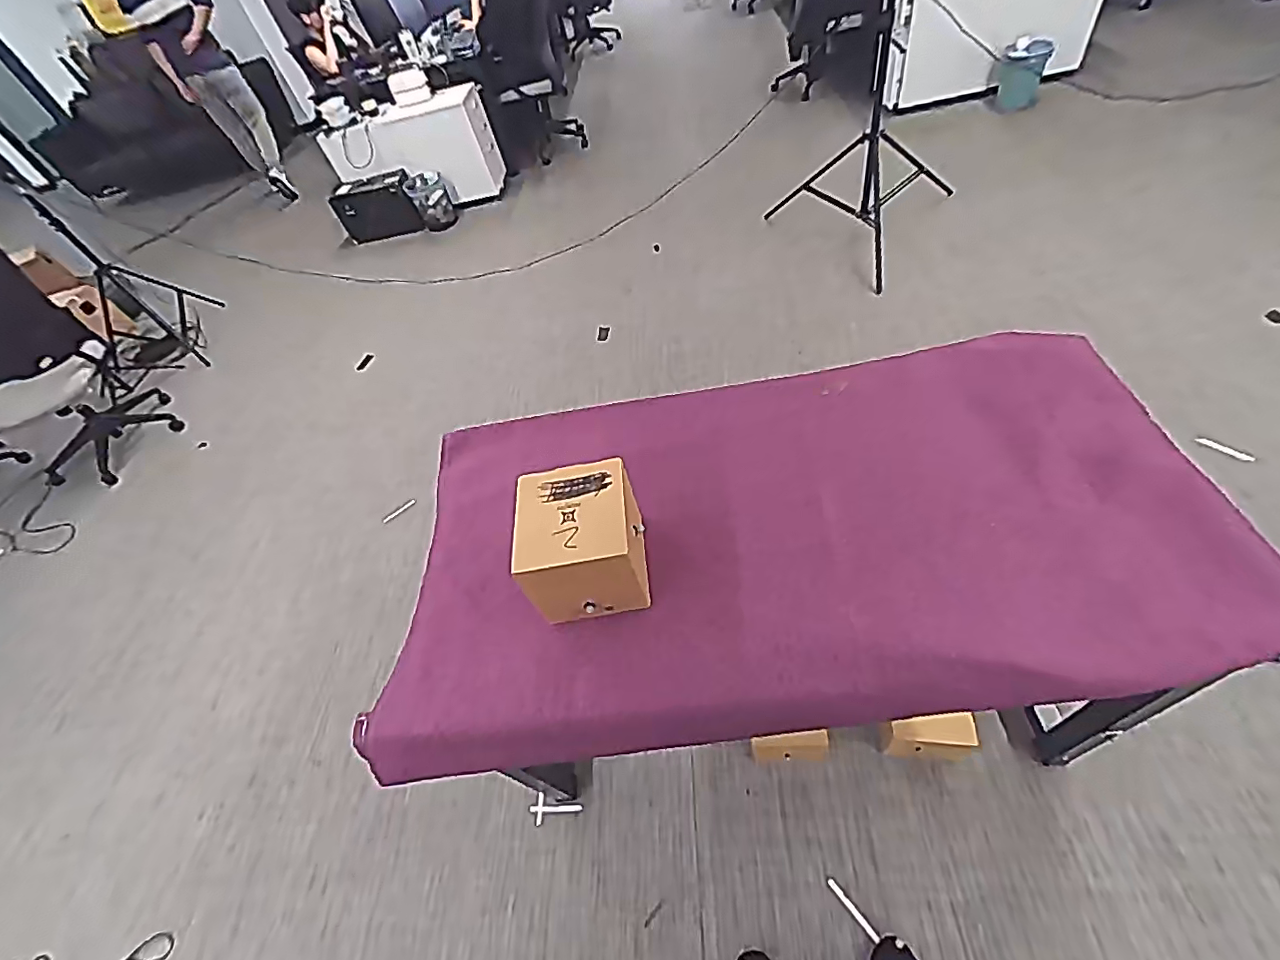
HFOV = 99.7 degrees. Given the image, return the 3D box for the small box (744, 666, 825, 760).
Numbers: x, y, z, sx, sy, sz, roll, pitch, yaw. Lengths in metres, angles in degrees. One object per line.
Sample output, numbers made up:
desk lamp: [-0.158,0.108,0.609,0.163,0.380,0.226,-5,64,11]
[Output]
small box: [0.346,0.568,1.306,0.168,0.176,0.179,-6,50,9]

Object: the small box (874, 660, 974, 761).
small box: [0.649,0.537,1.256,0.168,0.176,0.179,-1,51,14]
